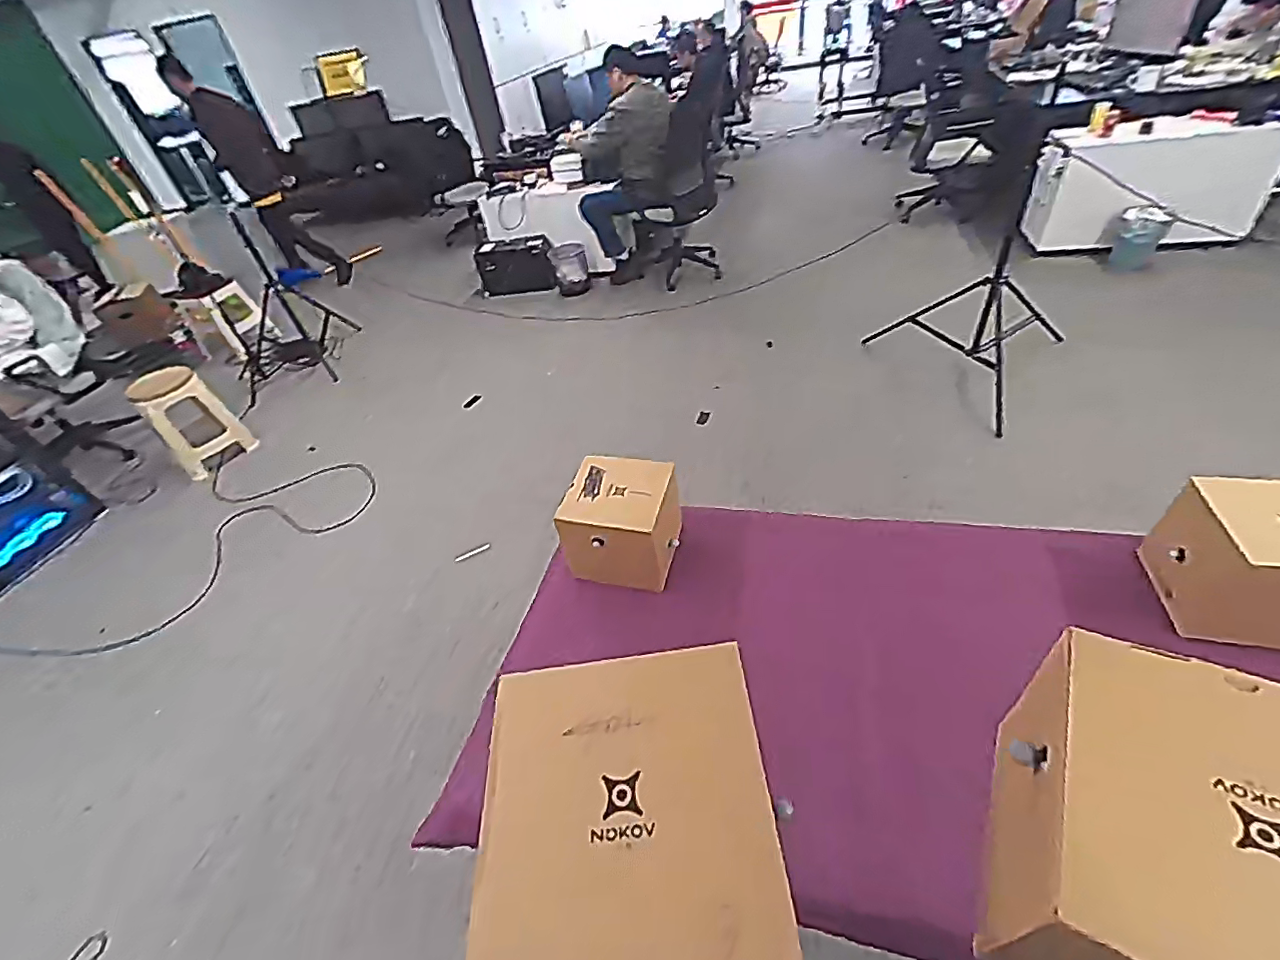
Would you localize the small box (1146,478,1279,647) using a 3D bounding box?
[{"bbox_3d":[0.864,0.117,0.756,0.179,0.176,0.168,5,45,16],"label":"small box"}]

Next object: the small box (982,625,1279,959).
[{"bbox_3d":[0.325,0.228,0.327,0.168,0.176,0.179,15,49,28],"label":"small box"}]

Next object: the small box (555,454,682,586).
[{"bbox_3d":[-0.029,0.074,0.986,0.179,0.176,0.168,7,46,16],"label":"small box"}]

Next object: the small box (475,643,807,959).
[{"bbox_3d":[0.005,0.239,0.364,0.168,0.176,0.179,-9,44,2],"label":"small box"}]
